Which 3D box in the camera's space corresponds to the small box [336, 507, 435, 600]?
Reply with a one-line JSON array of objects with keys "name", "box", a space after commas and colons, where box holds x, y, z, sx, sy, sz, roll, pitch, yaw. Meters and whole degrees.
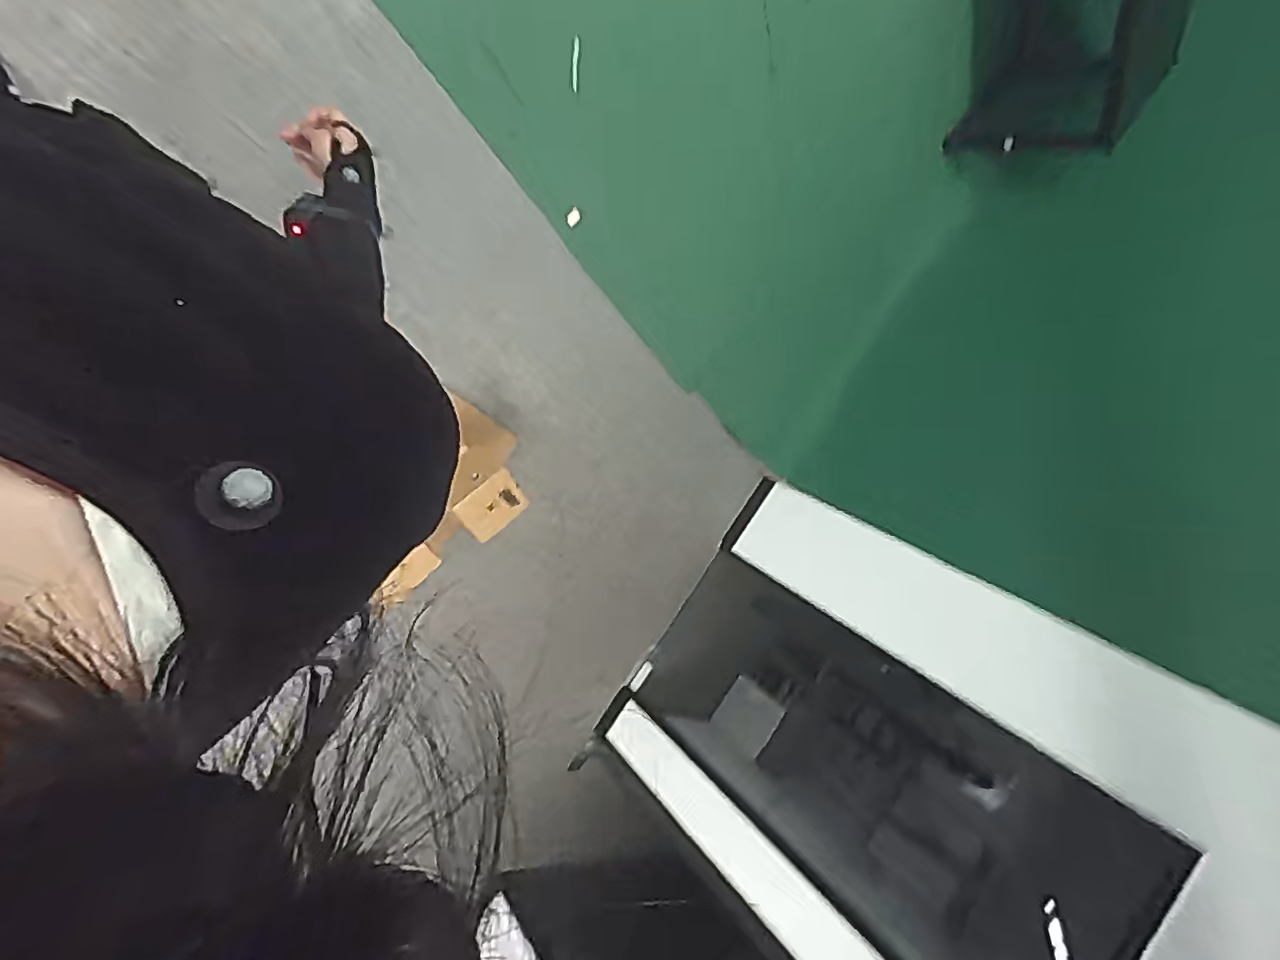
[{"name": "small box", "box": [-0.745, 0.209, 1.583, 0.168, 0.176, 0.179, -42, 138, -19]}]

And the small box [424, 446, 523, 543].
[{"name": "small box", "box": [-0.465, 0.034, 1.507, 0.179, 0.176, 0.168, -41, 138, -18]}]
